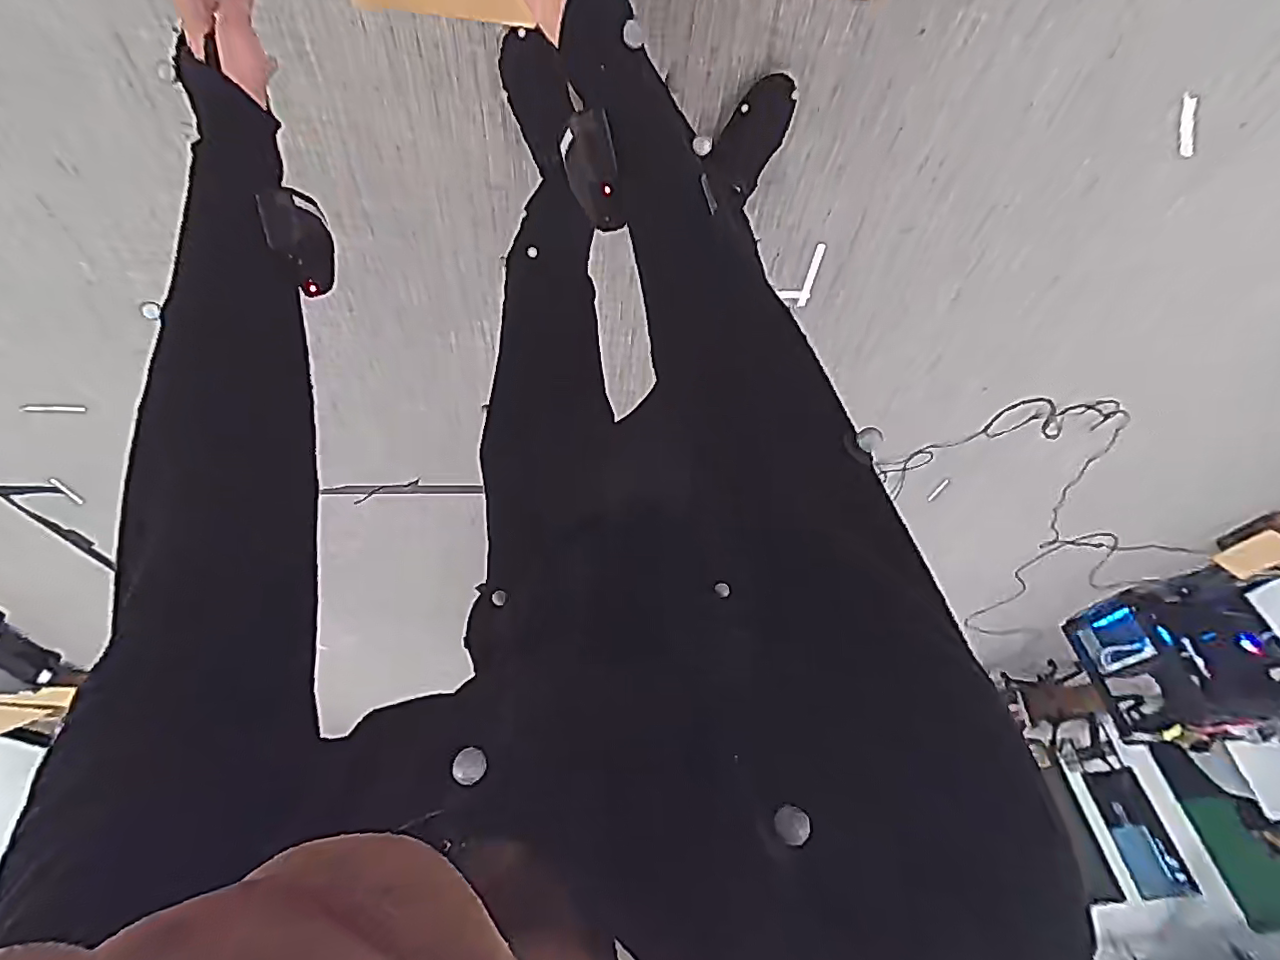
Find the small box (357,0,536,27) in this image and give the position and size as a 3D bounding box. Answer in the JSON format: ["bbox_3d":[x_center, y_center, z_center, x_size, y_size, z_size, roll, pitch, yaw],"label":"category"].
[{"bbox_3d":[-0.183,-0.564,0.509,0.179,0.176,0.168,1,143,-8],"label":"small box"}]
